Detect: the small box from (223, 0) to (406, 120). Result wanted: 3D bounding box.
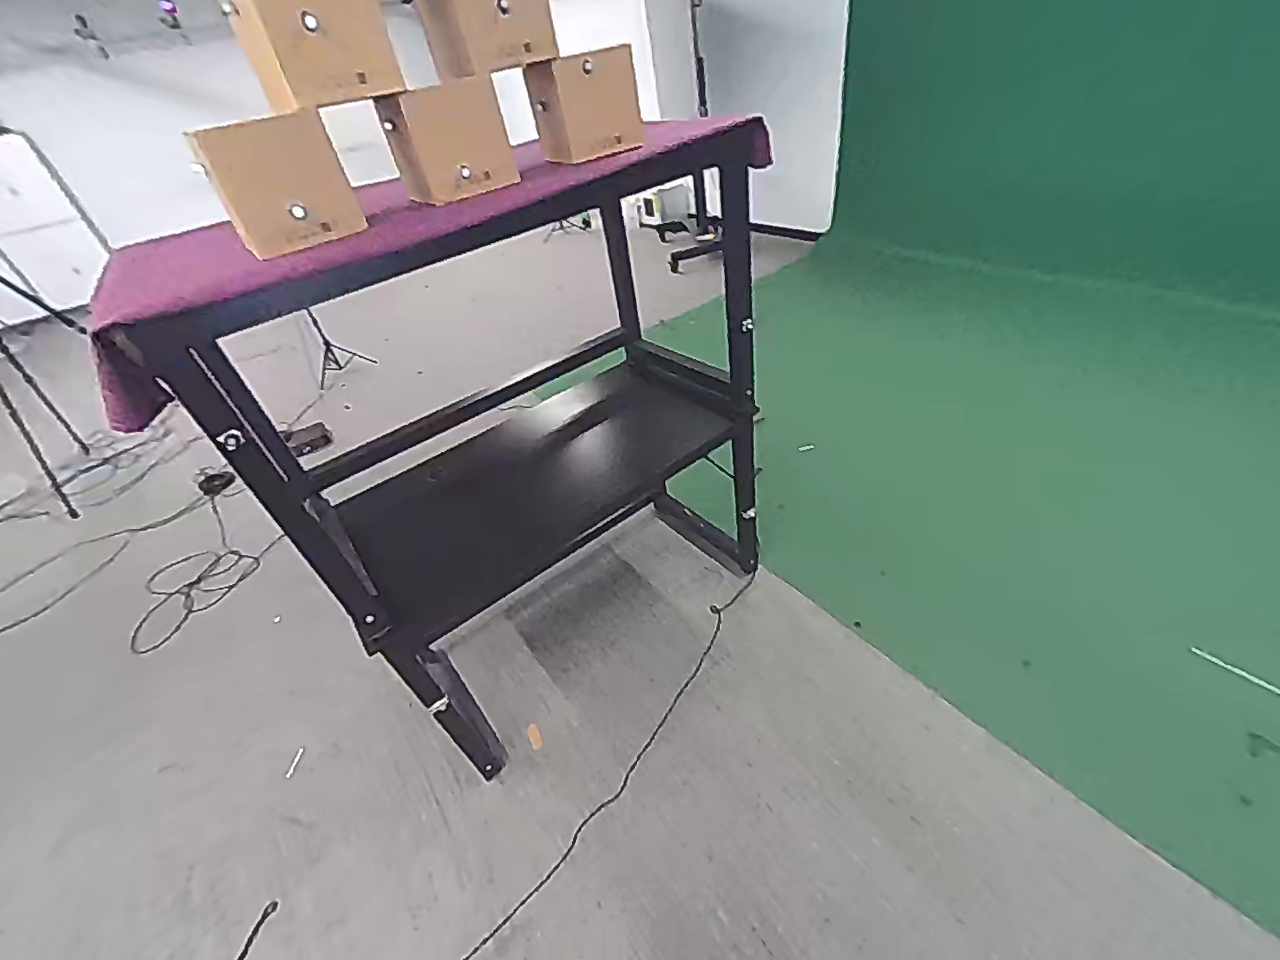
[{"bbox_3d":[-0.481,-0.650,0.810,0.168,0.176,0.179,-33,42,-26],"label":"small box"}]

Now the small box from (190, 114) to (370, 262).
[{"bbox_3d":[-0.557,-0.455,0.846,0.168,0.176,0.179,-32,43,-24],"label":"small box"}]

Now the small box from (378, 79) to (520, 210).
[{"bbox_3d":[-0.343,-0.601,0.976,0.168,0.176,0.179,-30,42,-21],"label":"small box"}]

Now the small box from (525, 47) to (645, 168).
[{"bbox_3d":[-0.109,-0.742,1.088,0.168,0.176,0.179,-27,39,-16],"label":"small box"}]

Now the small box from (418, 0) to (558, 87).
[{"bbox_3d":[-0.263,-0.798,0.932,0.168,0.176,0.179,-30,41,-21],"label":"small box"}]
